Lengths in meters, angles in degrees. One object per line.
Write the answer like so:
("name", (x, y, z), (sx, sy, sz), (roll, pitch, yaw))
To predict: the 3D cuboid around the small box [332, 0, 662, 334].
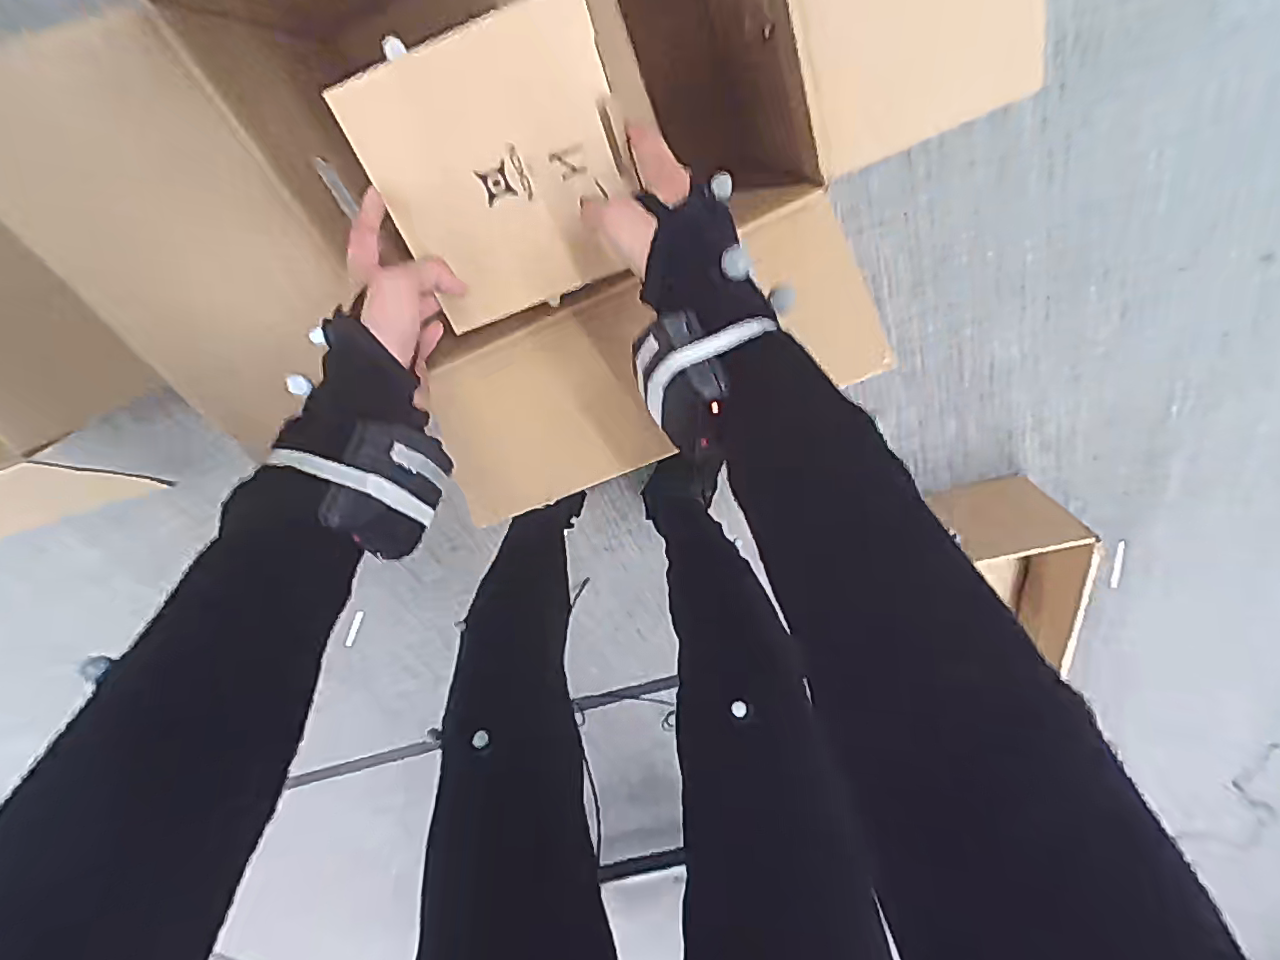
("small box", (-0.094, -0.244, 0.436), (0.179, 0.176, 0.168), (-18, 123, 6))
